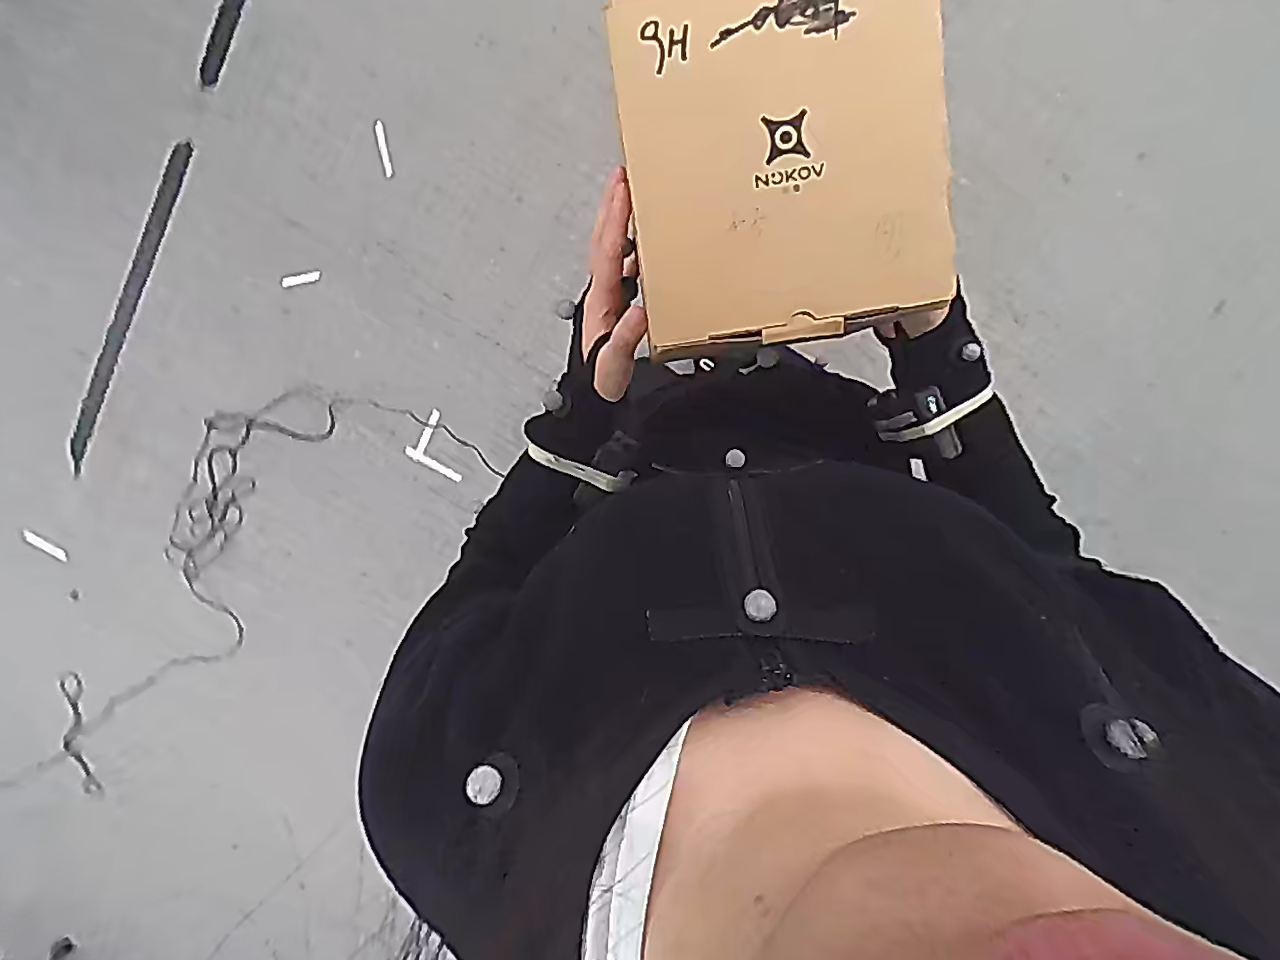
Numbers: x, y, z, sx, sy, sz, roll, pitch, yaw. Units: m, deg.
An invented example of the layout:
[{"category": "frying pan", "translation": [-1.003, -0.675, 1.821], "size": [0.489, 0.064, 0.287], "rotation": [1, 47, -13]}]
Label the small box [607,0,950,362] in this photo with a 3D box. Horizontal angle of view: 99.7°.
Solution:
[{"category": "small box", "translation": [0.077, -0.177, 0.360], "size": [0.168, 0.176, 0.179], "rotation": [-9, 100, 2]}]
